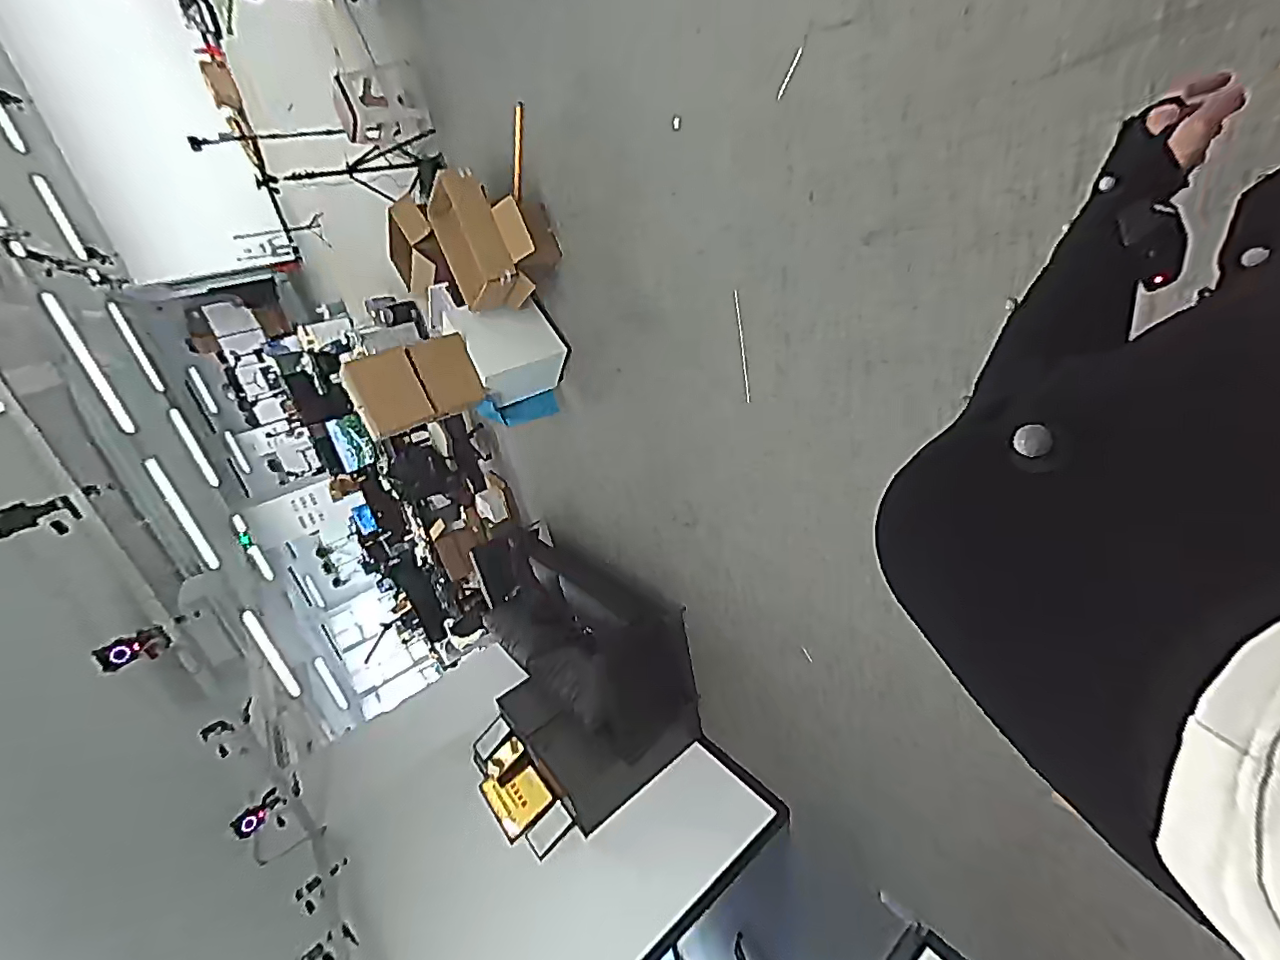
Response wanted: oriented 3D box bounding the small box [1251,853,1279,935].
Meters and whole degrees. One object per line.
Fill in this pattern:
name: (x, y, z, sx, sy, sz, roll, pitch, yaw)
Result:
small box: (1.698, 1.063, 1.345, 0.179, 0.176, 0.168, 28, 136, 47)
